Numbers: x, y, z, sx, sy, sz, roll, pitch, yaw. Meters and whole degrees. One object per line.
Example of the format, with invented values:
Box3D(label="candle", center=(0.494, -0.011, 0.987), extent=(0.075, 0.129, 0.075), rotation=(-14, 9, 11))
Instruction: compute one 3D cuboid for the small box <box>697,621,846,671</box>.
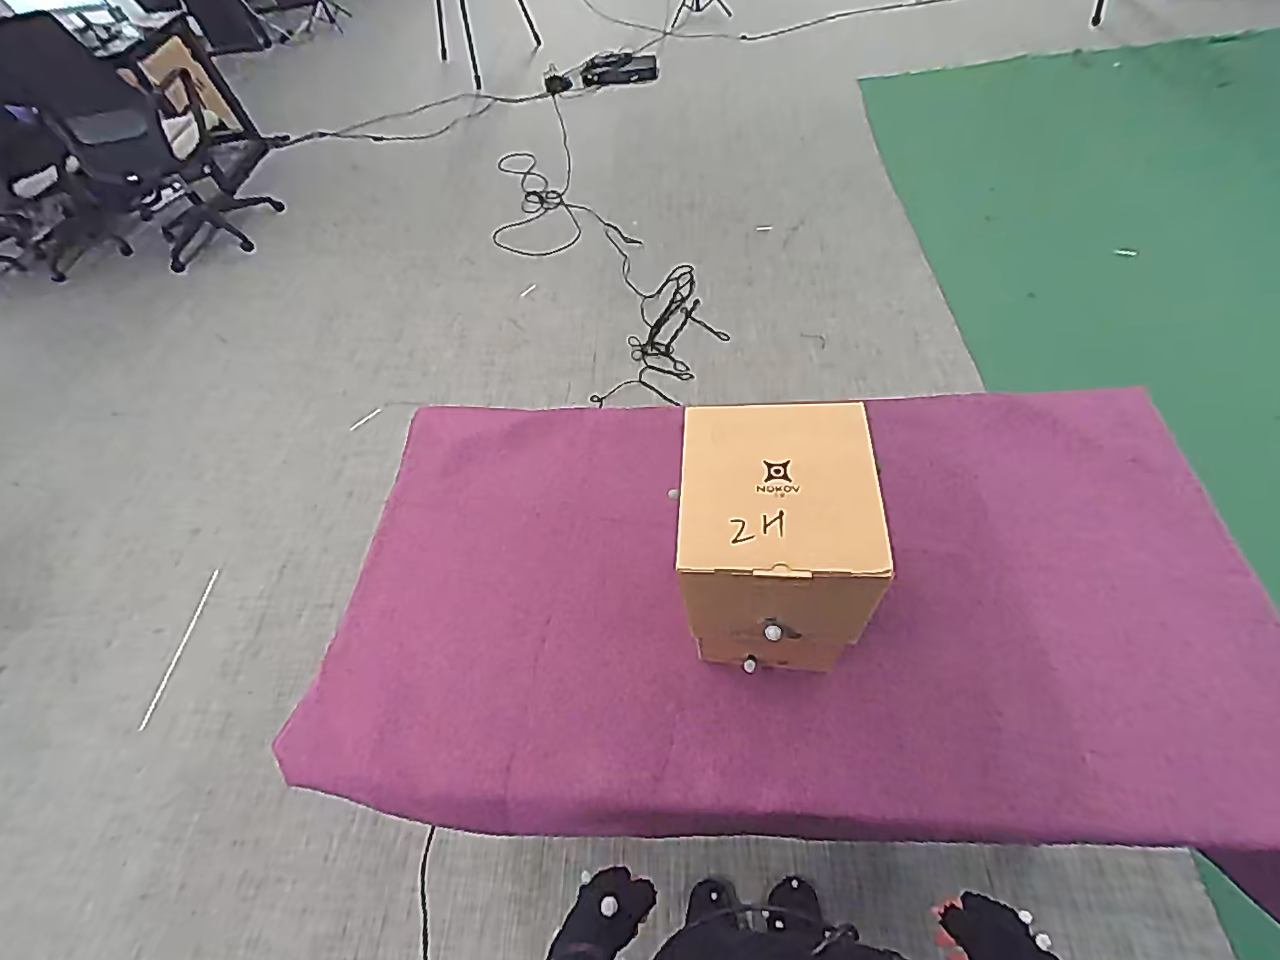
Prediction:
Box3D(label="small box", center=(0.159, 0.122, 0.678), extent=(0.168, 0.176, 0.179), rotation=(2, 57, 11))

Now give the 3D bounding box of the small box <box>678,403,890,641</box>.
Box3D(label="small box", center=(0.131, 0.043, 0.535), extent=(0.168, 0.176, 0.179), rotation=(0, 56, 11))
